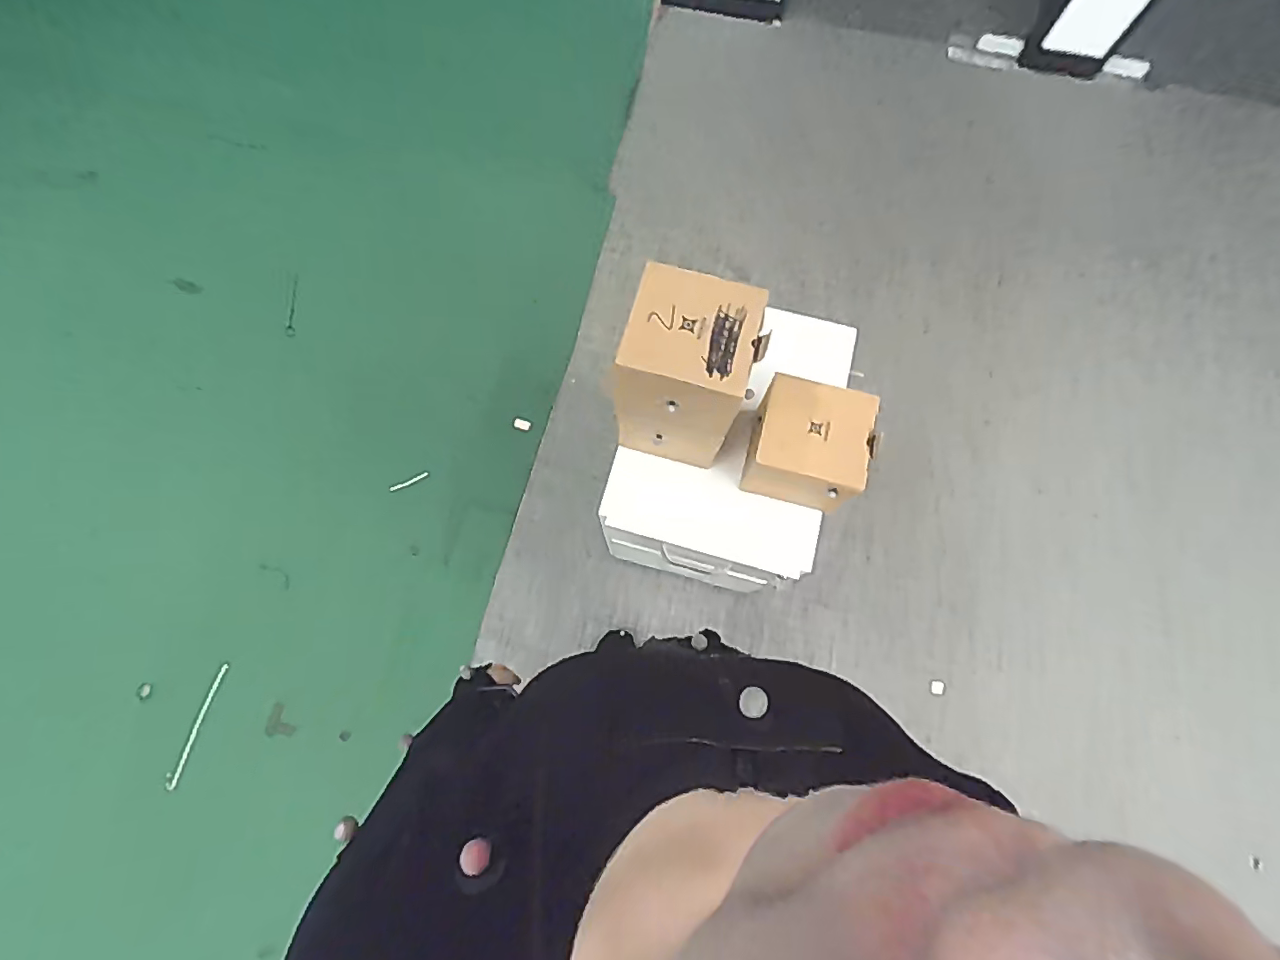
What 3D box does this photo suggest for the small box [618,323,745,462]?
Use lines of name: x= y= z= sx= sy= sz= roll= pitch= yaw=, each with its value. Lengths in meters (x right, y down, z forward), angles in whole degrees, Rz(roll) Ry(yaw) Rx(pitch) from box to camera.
small box: x=0.067 y=-0.144 z=0.948 sx=0.179 sy=0.176 sz=0.168 roll=15 pitch=76 yaw=3
